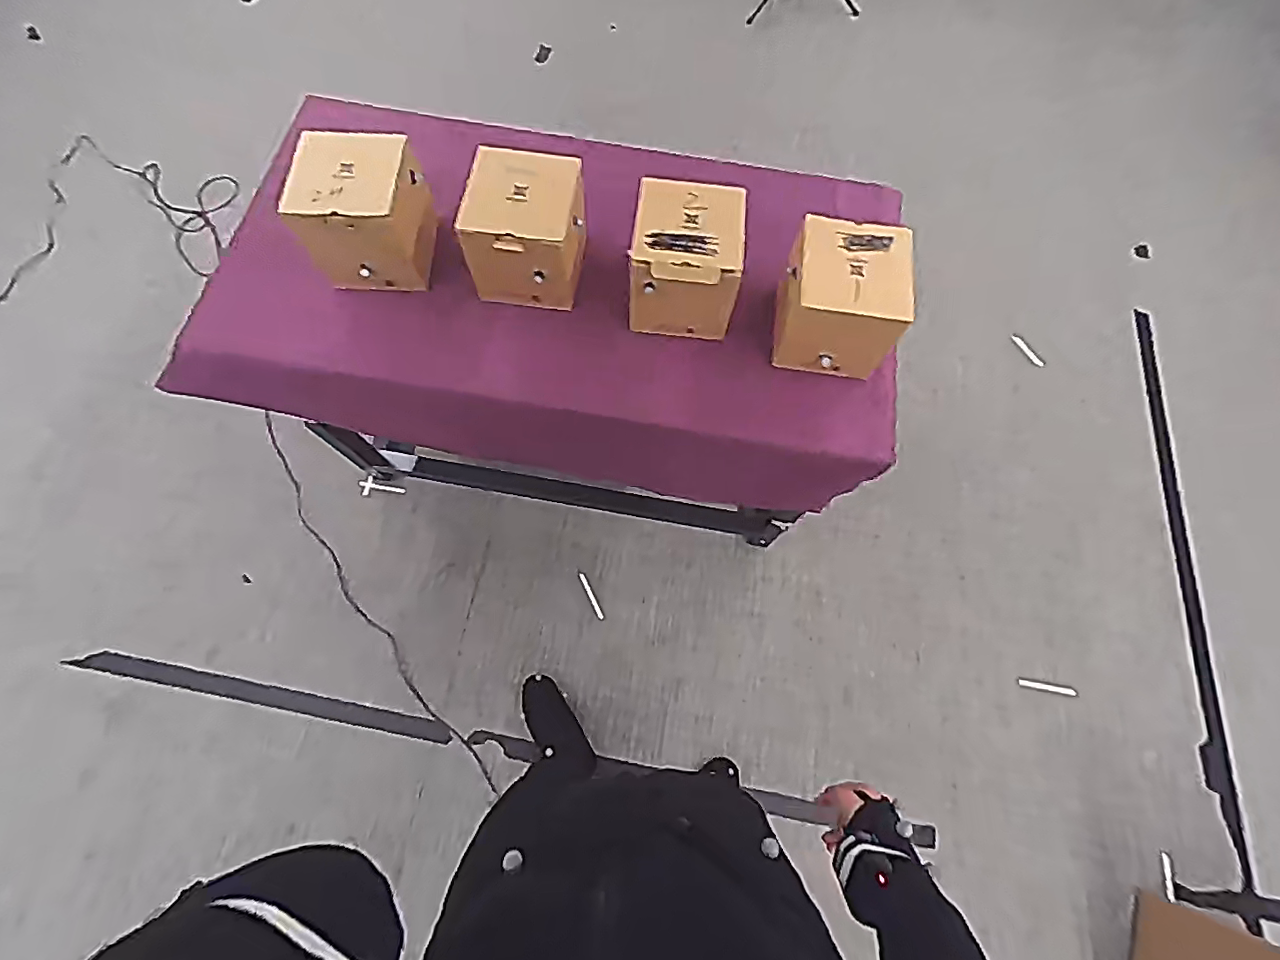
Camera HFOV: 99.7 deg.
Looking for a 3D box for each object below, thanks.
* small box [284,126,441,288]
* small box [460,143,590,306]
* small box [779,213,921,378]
[{"bbox_3d":[-0.447,-0.451,0.906,0.168,0.176,0.179,1,71,-1],"label":"small box"},{"bbox_3d":[-0.179,-0.418,0.905,0.168,0.176,0.179,8,70,0],"label":"small box"},{"bbox_3d":[0.330,-0.291,0.874,0.168,0.176,0.179,9,71,2],"label":"small box"}]
